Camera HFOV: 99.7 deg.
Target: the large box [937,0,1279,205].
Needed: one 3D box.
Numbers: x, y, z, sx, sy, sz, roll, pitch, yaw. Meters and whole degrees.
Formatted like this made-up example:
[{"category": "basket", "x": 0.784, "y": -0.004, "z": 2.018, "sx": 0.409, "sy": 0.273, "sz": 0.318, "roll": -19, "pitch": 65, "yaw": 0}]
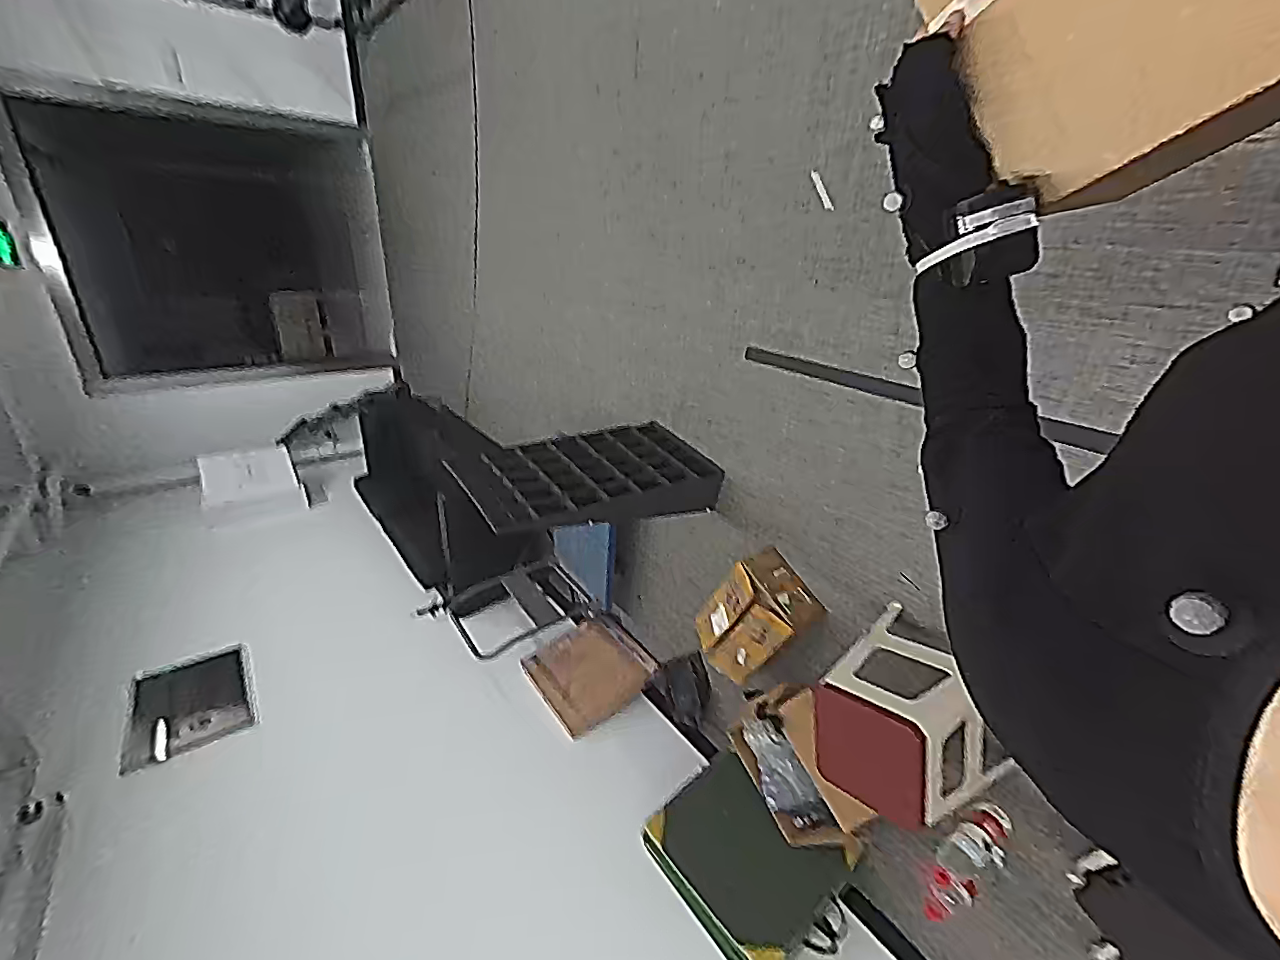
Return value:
[{"category": "large box", "x": 0.450, "y": -0.436, "z": 0.338, "sx": 0.408, "sy": 0.320, "sz": 0.320, "roll": -20, "pitch": 94, "yaw": 55}]
